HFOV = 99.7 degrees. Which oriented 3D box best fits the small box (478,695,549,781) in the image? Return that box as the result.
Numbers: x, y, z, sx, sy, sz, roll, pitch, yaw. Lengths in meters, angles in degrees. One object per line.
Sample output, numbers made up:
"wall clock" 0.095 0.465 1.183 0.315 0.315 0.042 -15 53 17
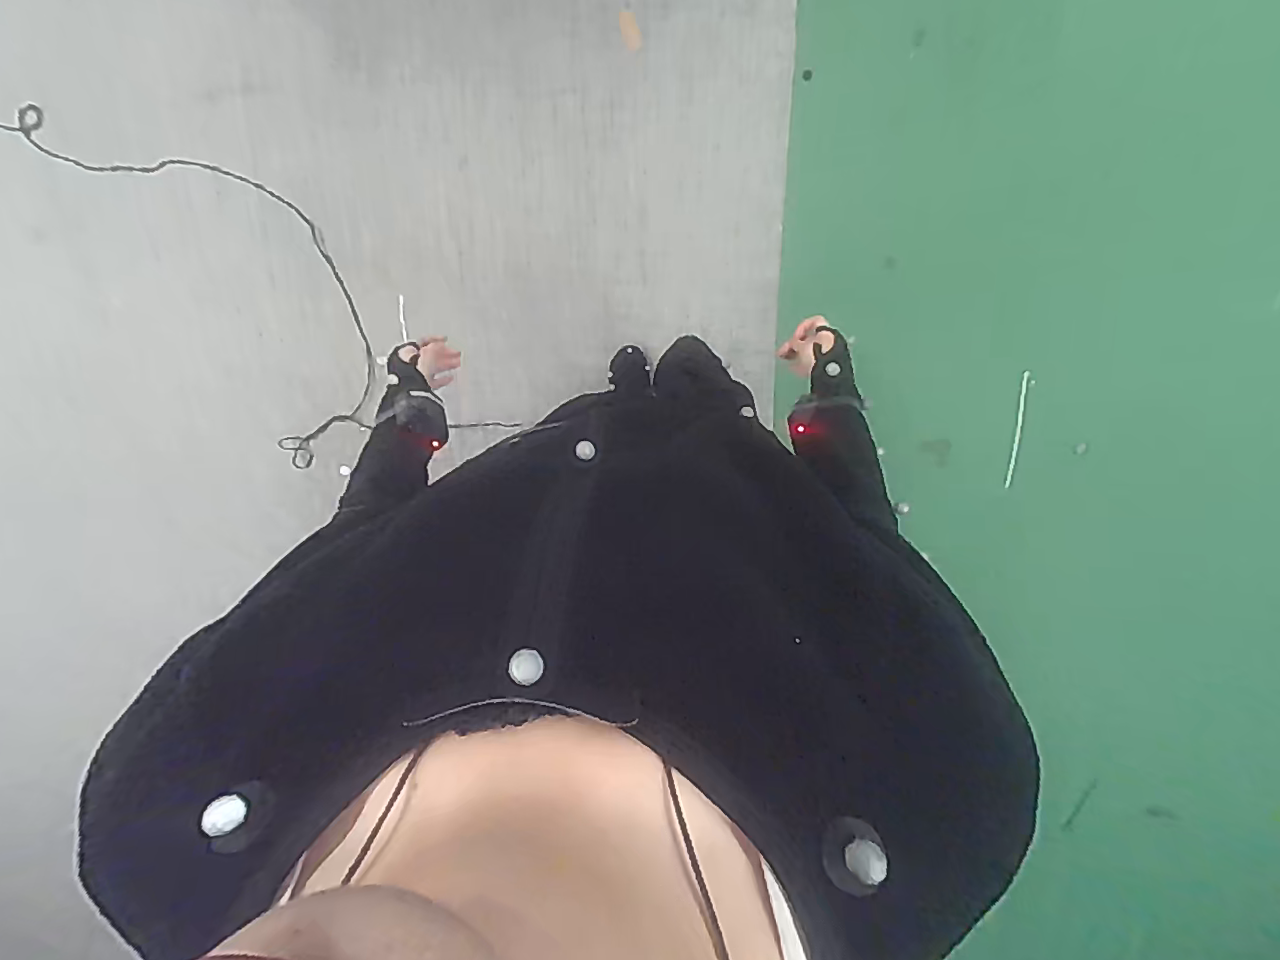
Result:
"small box" -0.371 0.761 1.609 0.168 0.176 0.179 -2 104 2
